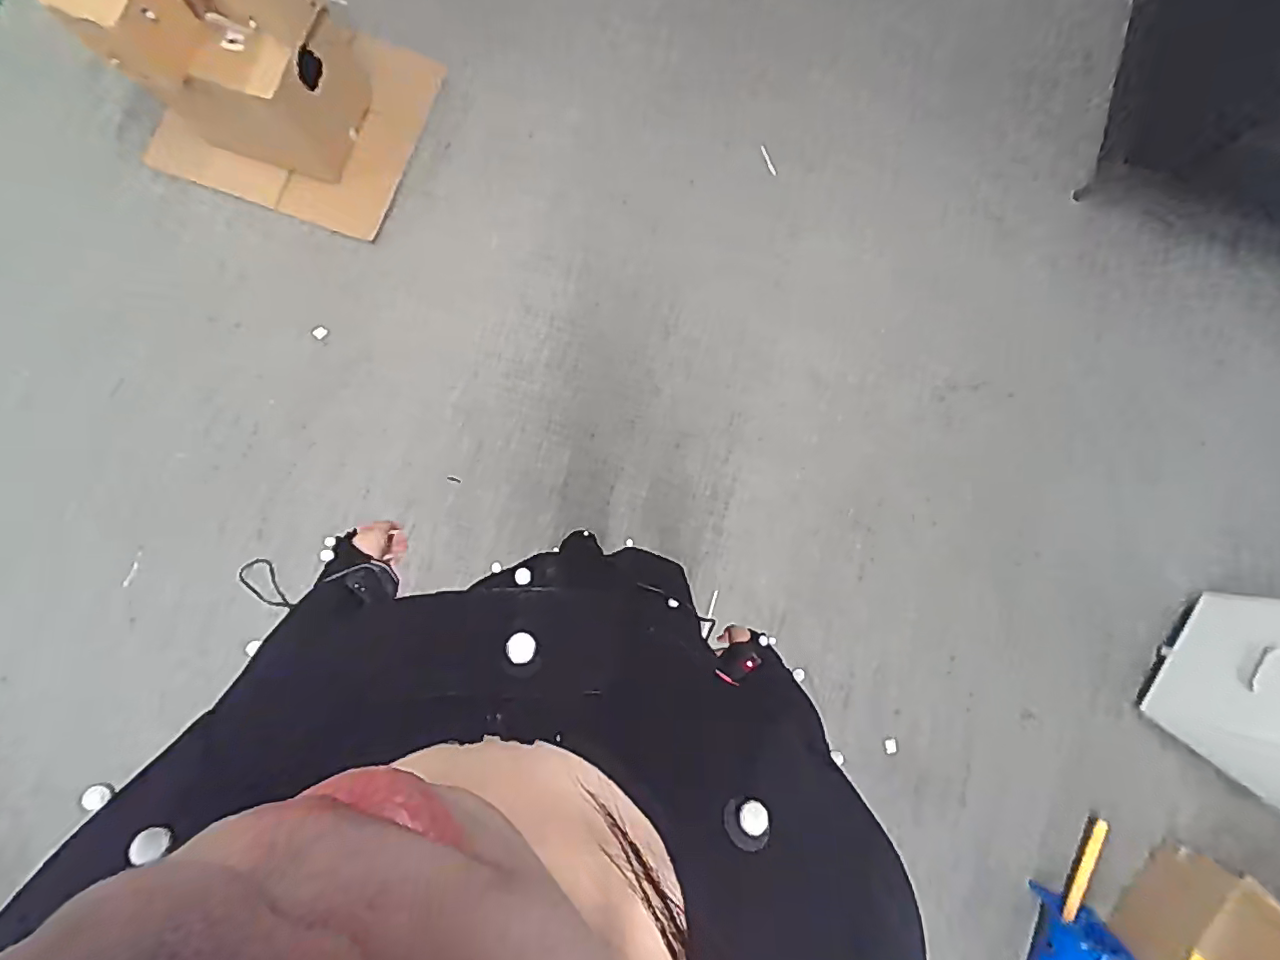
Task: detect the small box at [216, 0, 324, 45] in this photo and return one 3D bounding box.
[{"bbox_3d":[-0.849,-1.127,1.204,0.179,0.176,0.168,21,83,1],"label":"small box"}]
